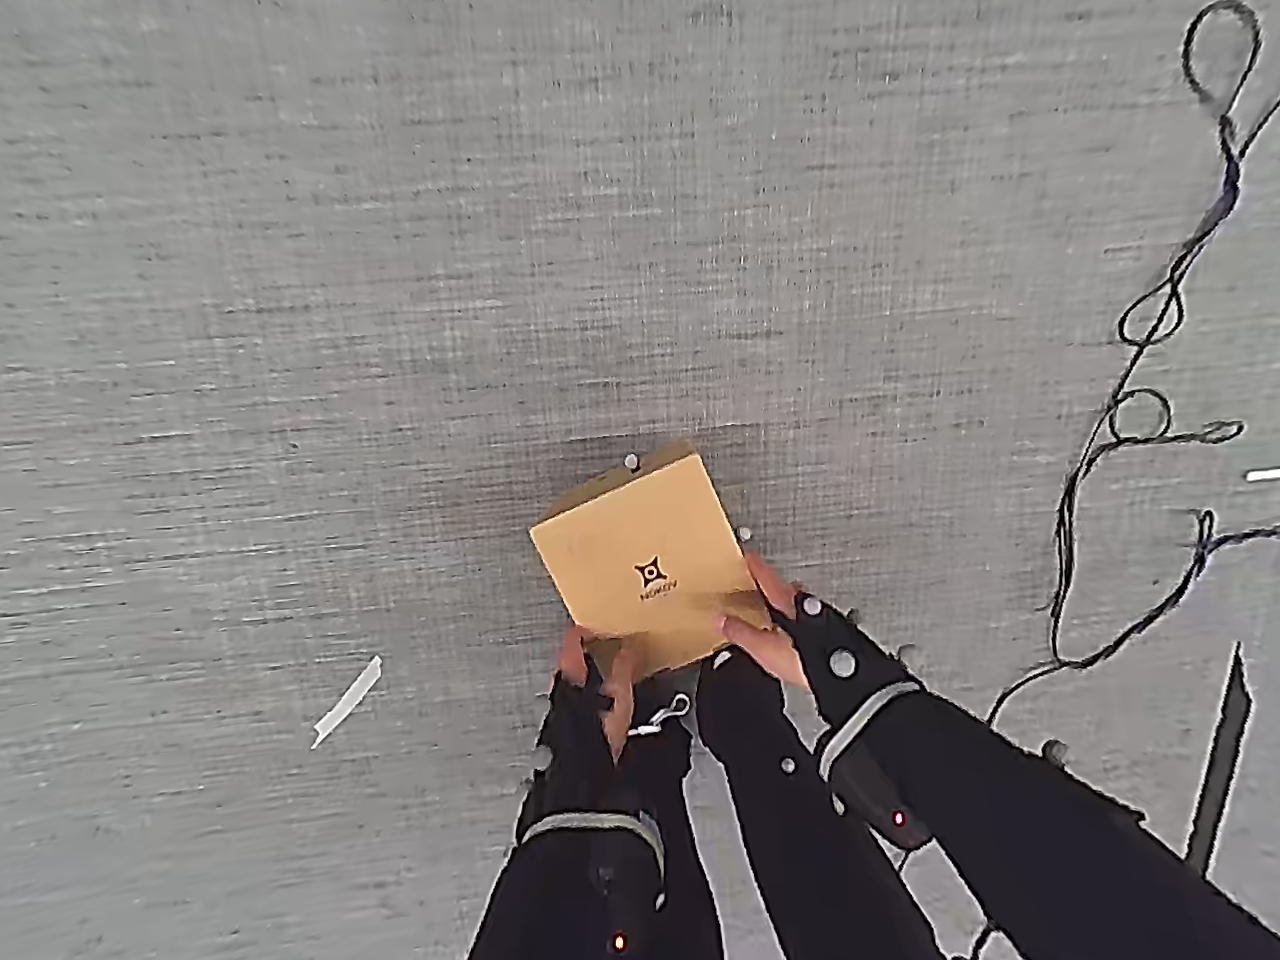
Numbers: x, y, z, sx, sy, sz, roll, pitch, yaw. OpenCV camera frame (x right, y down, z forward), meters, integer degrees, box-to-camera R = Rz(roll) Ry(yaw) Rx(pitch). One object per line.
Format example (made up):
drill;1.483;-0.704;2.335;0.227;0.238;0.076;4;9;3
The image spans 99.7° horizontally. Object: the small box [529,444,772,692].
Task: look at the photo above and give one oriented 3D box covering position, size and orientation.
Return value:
small box;0.008;0.071;0.552;0.168;0.176;0.179;-25;99;3
